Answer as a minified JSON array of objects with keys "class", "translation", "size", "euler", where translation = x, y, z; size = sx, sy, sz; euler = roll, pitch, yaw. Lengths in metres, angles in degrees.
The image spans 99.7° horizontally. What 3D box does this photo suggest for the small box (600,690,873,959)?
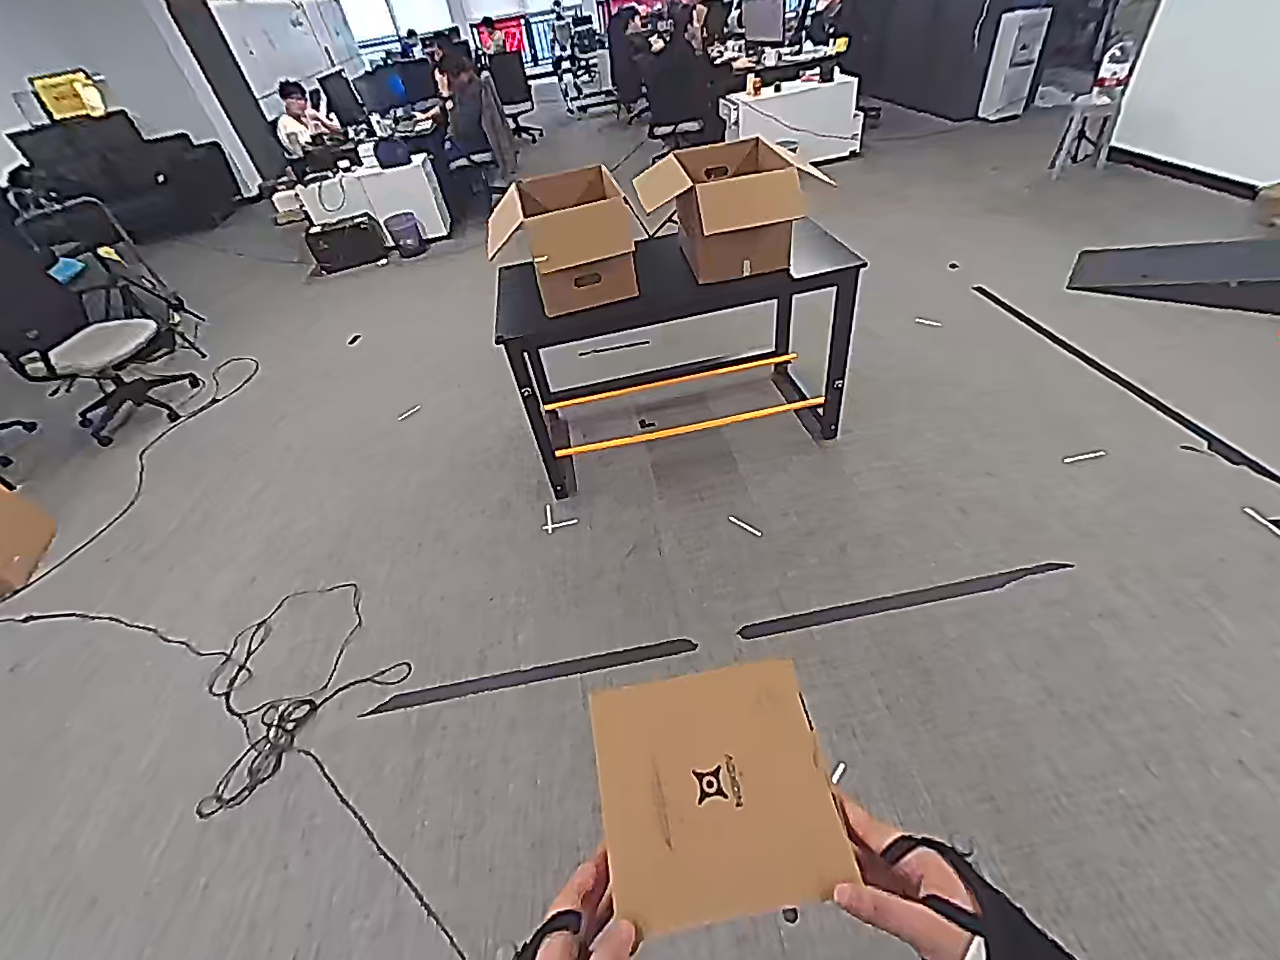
[{"class":"small box","translation":[0.067,0.304,0.477],"size":[0.179,0.176,0.168],"euler":[-10,54,-4]}]
